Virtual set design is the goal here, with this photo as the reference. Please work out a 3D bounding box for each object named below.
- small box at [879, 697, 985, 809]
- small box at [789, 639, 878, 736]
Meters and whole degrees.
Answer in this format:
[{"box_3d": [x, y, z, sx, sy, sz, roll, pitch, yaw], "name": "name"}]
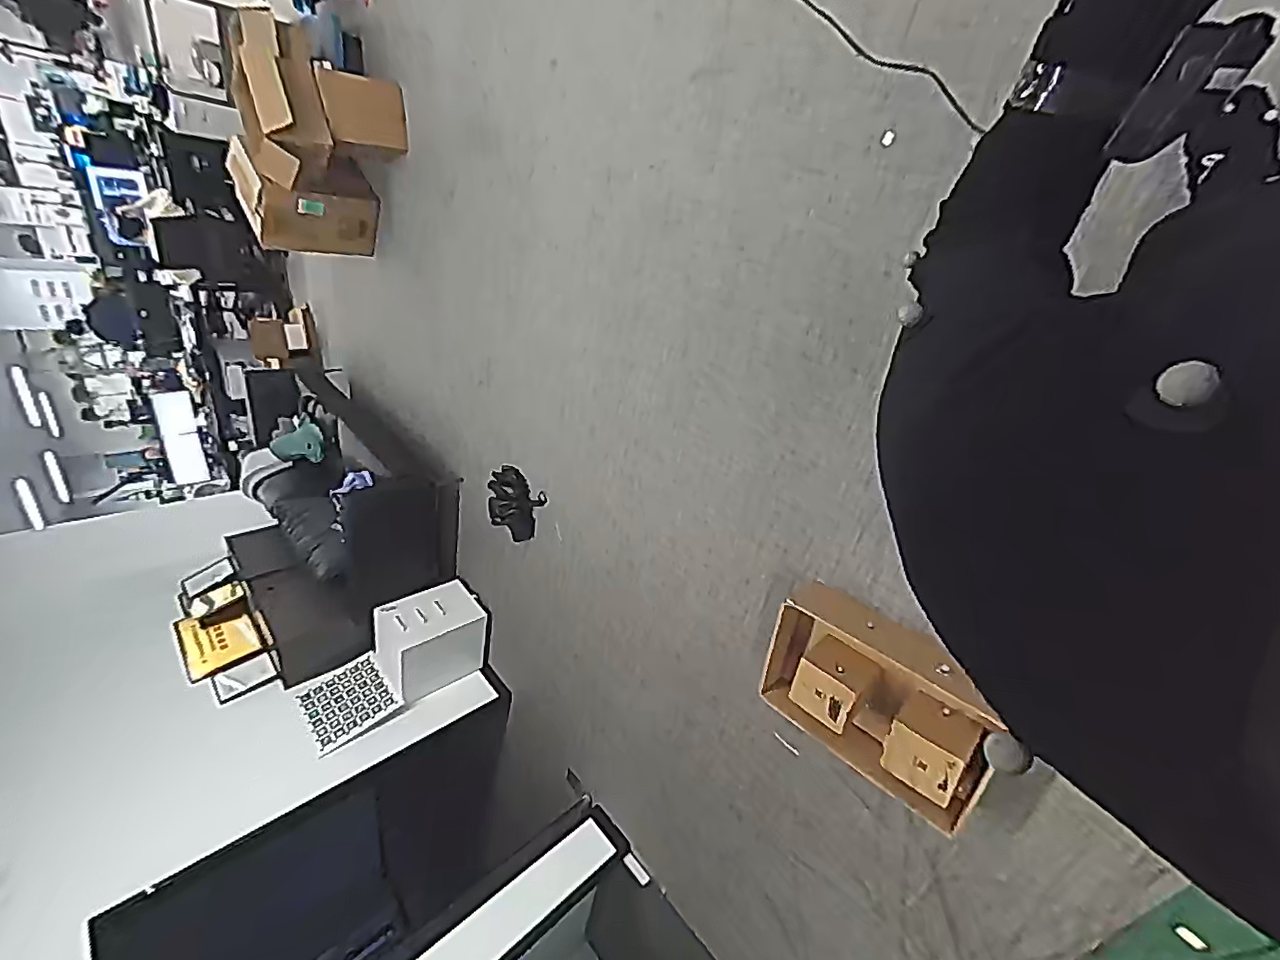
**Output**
[{"box_3d": [0.772, 0.709, 1.432, 0.179, 0.176, 0.168, 26, 121, 41], "name": "small box"}, {"box_3d": [0.577, 0.607, 1.607, 0.179, 0.176, 0.168, 29, 122, 37], "name": "small box"}]
